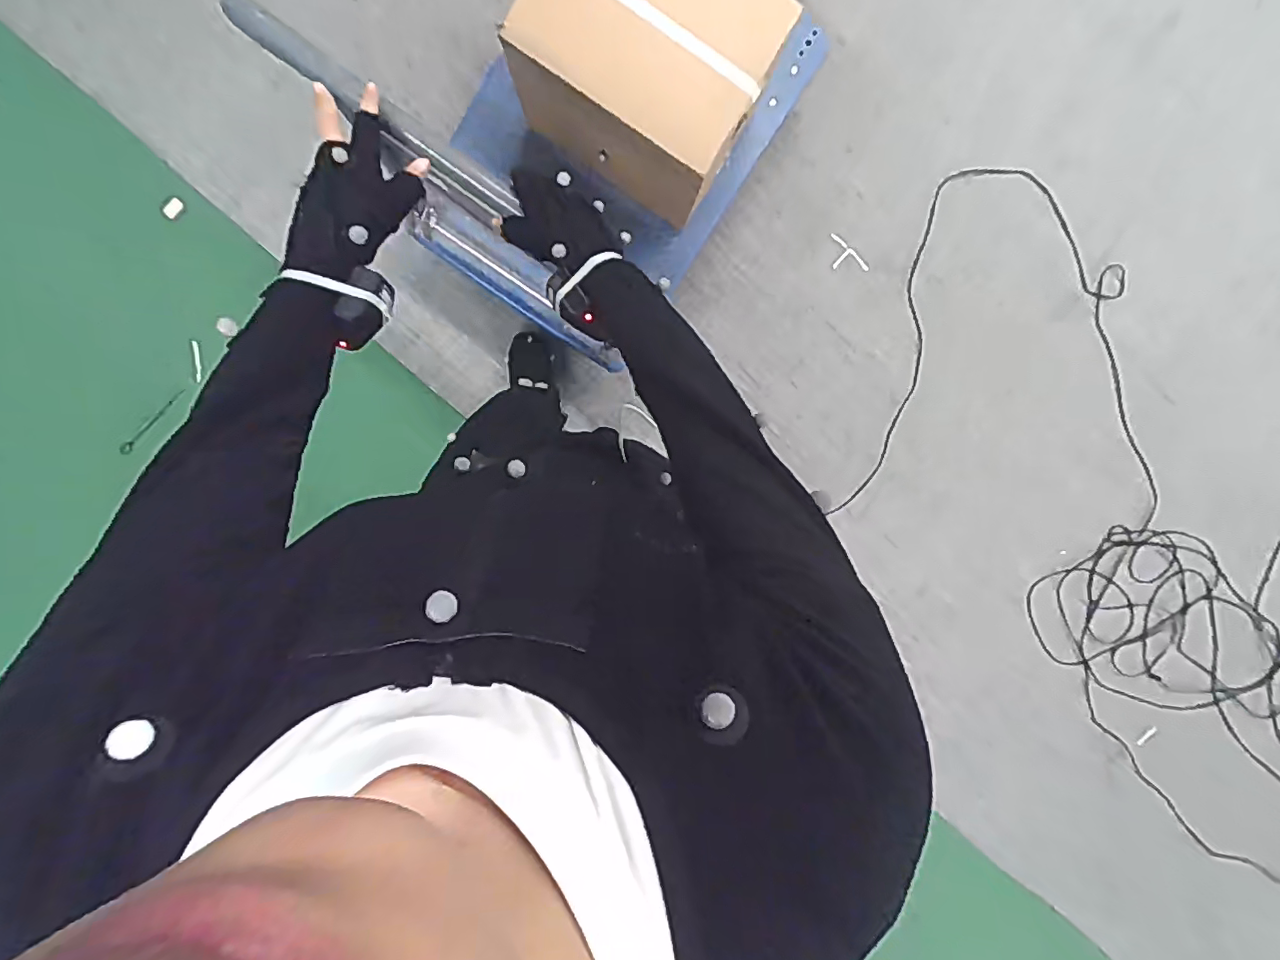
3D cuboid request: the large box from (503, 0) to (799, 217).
[{"bbox_3d":[0.017,-0.787,1.035,0.408,0.320,0.320,31,96,-6],"label":"large box"}]
